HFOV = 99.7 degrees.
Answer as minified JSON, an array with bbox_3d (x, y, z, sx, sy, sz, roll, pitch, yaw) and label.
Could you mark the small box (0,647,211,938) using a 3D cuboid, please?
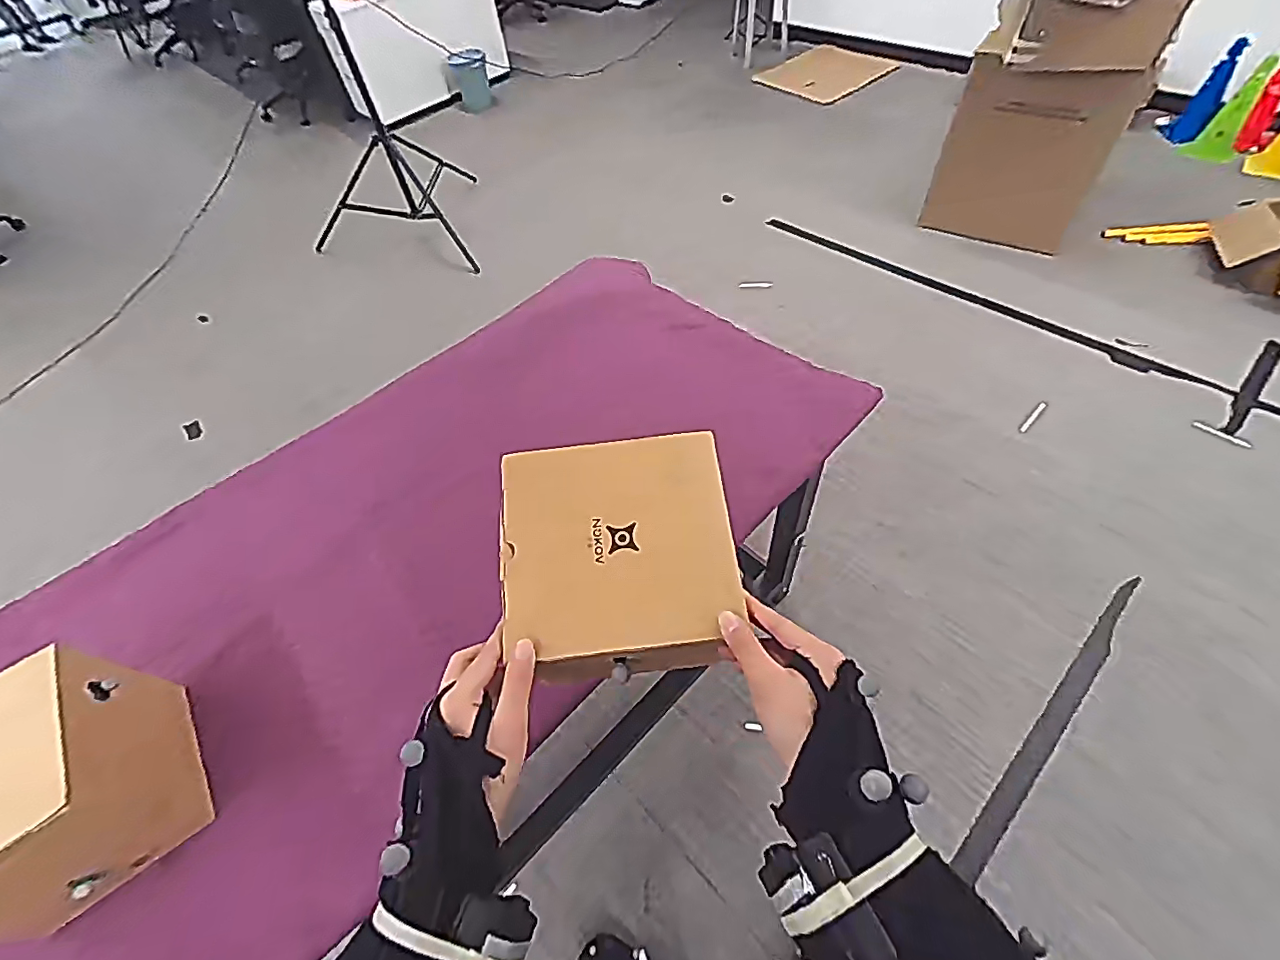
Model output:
[{"bbox_3d":[-0.568,0.303,0.523,0.168,0.176,0.179,-34,58,-18],"label":"small box"}]
